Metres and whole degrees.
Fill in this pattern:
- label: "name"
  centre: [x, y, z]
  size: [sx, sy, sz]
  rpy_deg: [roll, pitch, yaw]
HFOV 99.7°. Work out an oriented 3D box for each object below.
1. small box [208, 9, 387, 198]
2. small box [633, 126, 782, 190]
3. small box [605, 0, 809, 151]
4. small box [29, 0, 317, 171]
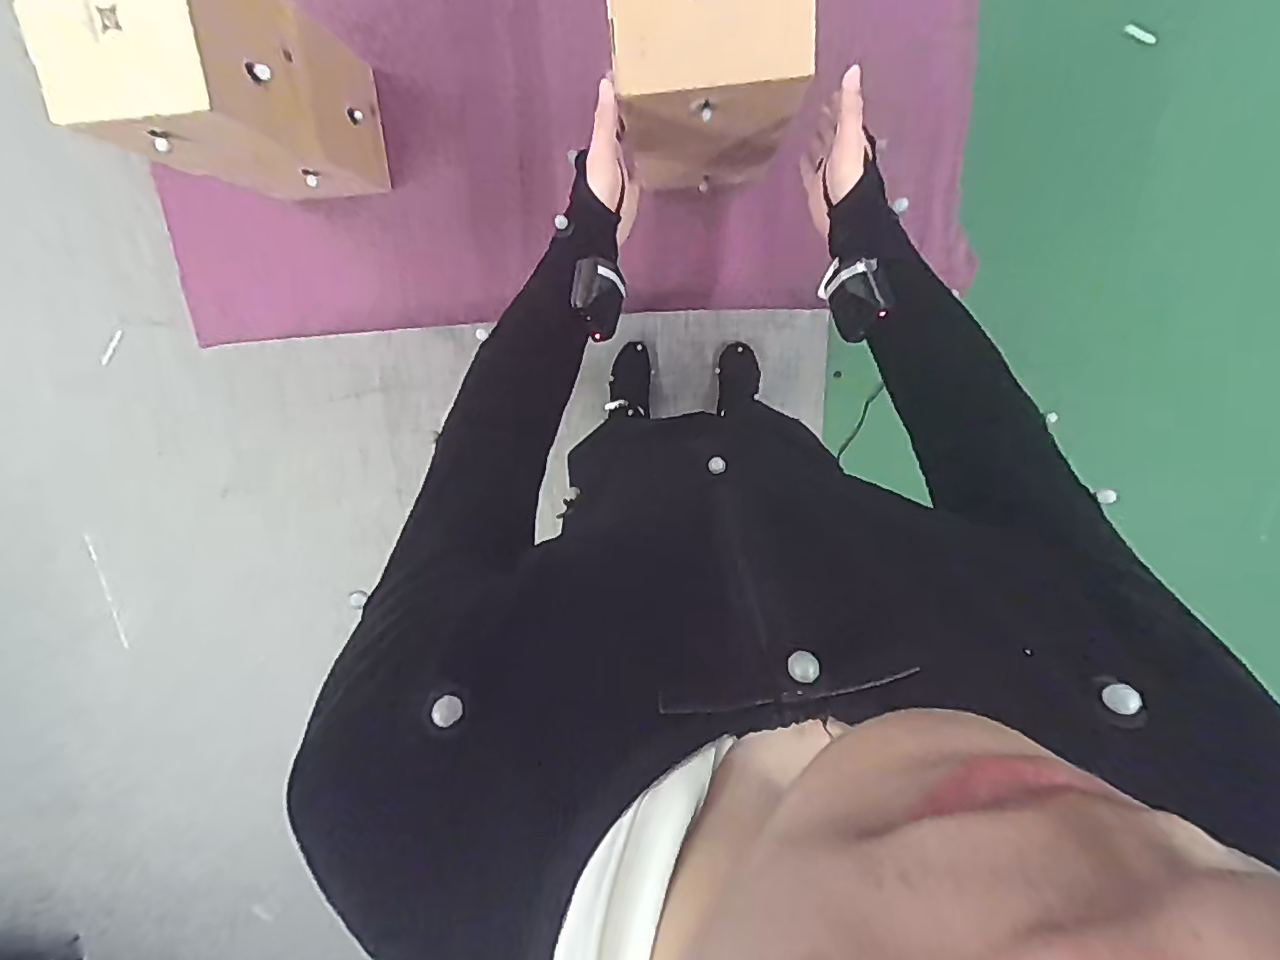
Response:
- label: "small box"
  centre: [-0.473, -0.501, 0.746]
  size: [0.179, 0.176, 0.168]
  rpy_deg: [-1, 105, 6]
- label: "small box"
  centre: [0.080, -0.487, 0.693]
  size: [0.179, 0.176, 0.168]
  rpy_deg: [-3, 104, 6]
- label: "small box"
  centre: [0.064, -0.445, 0.535]
  size: [0.179, 0.176, 0.168]
  rpy_deg: [-1, 106, 6]
- label: "small box"
  centre: [-0.488, -0.455, 0.591]
  size: [0.179, 0.176, 0.168]
  rpy_deg: [-1, 106, 7]
